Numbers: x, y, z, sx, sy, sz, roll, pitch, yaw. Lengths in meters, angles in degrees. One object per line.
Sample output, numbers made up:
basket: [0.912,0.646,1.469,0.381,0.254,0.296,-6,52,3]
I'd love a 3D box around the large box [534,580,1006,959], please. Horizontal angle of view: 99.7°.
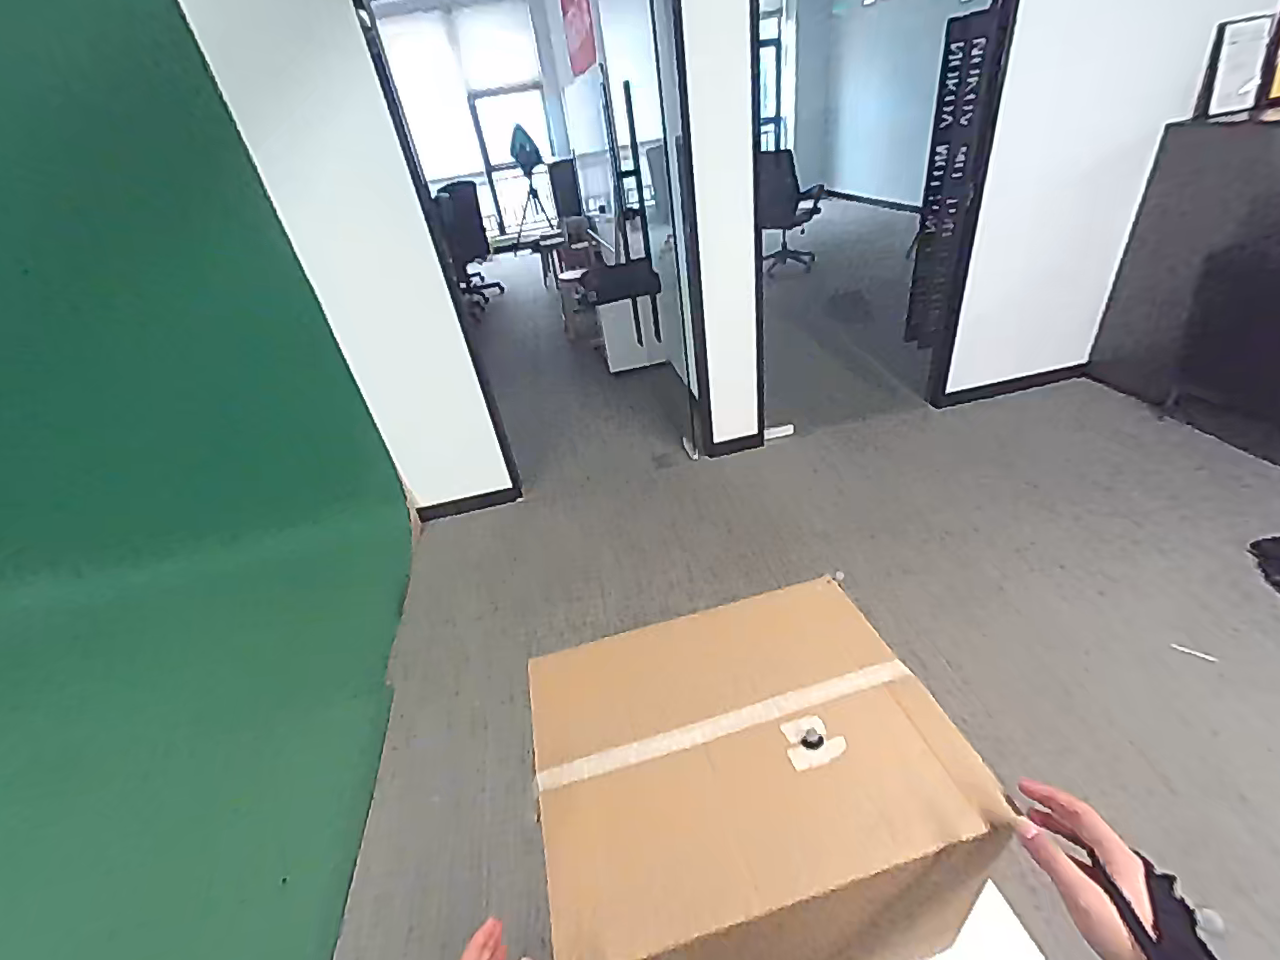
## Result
large box: [0.113,0.378,0.646,0.408,0.320,0.320,-13,34,-8]
